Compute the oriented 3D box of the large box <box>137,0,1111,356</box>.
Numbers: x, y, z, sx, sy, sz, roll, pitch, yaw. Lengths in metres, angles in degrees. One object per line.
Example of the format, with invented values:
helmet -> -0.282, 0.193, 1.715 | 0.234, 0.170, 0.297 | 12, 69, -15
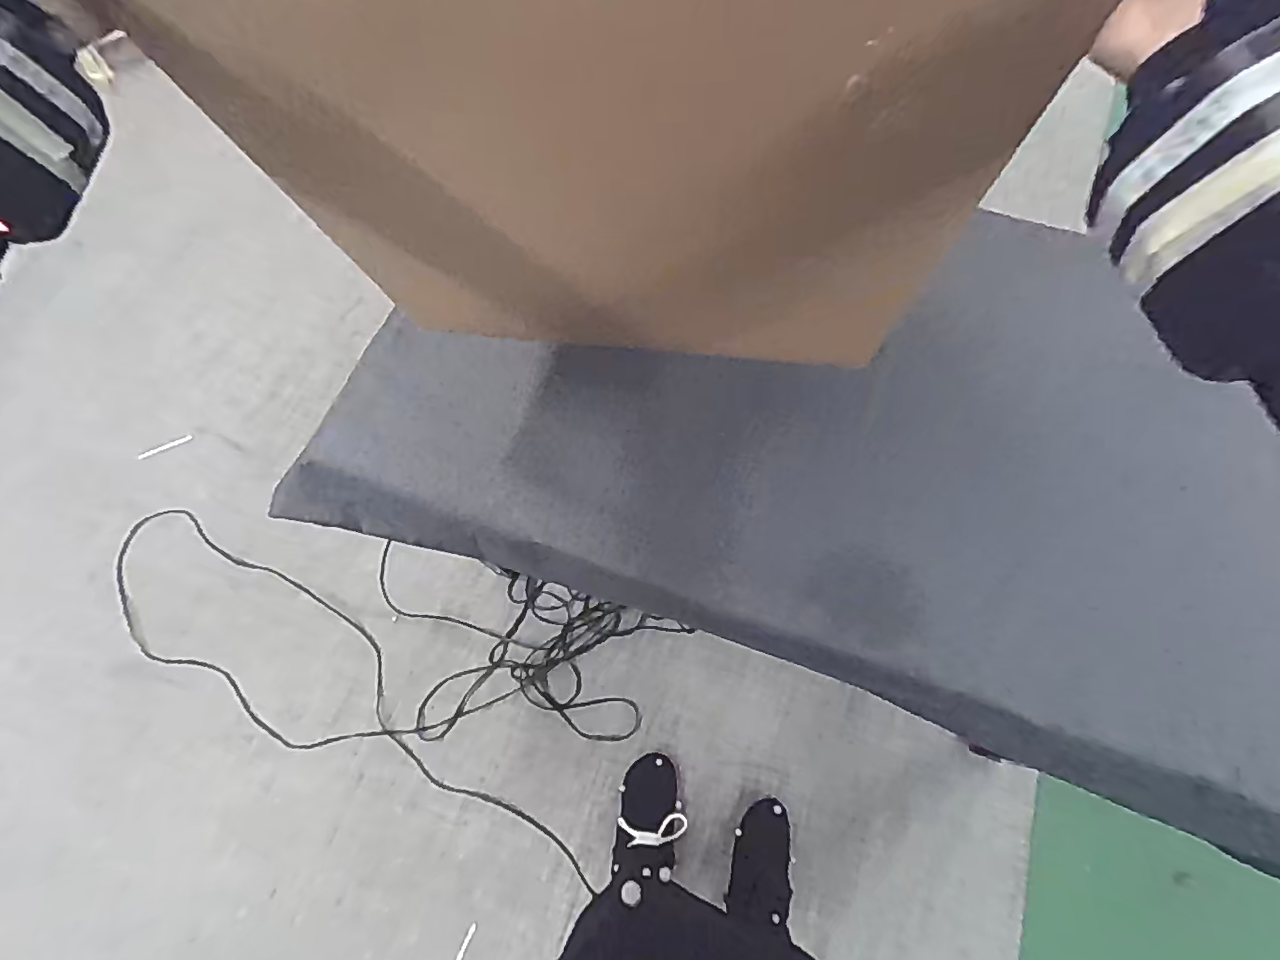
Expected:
large box -> 0.001, -0.301, 0.373 | 0.408, 0.320, 0.320 | 6, 78, 6
